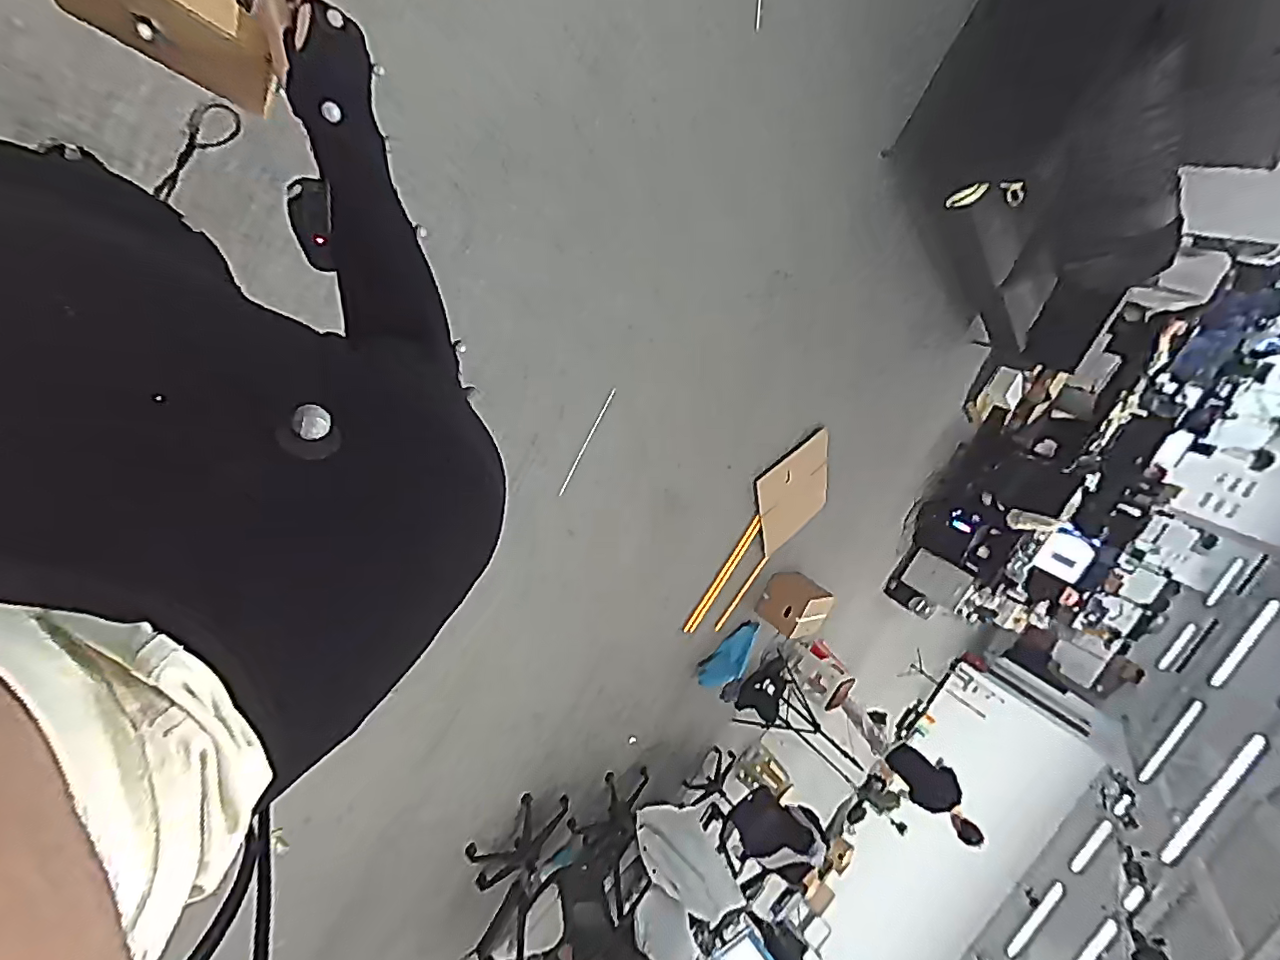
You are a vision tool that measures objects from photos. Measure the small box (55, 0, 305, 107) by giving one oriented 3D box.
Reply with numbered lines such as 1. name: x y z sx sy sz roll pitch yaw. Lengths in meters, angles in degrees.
1. small box: -0.425 -0.491 0.503 0.179 0.176 0.168 20 88 -37
